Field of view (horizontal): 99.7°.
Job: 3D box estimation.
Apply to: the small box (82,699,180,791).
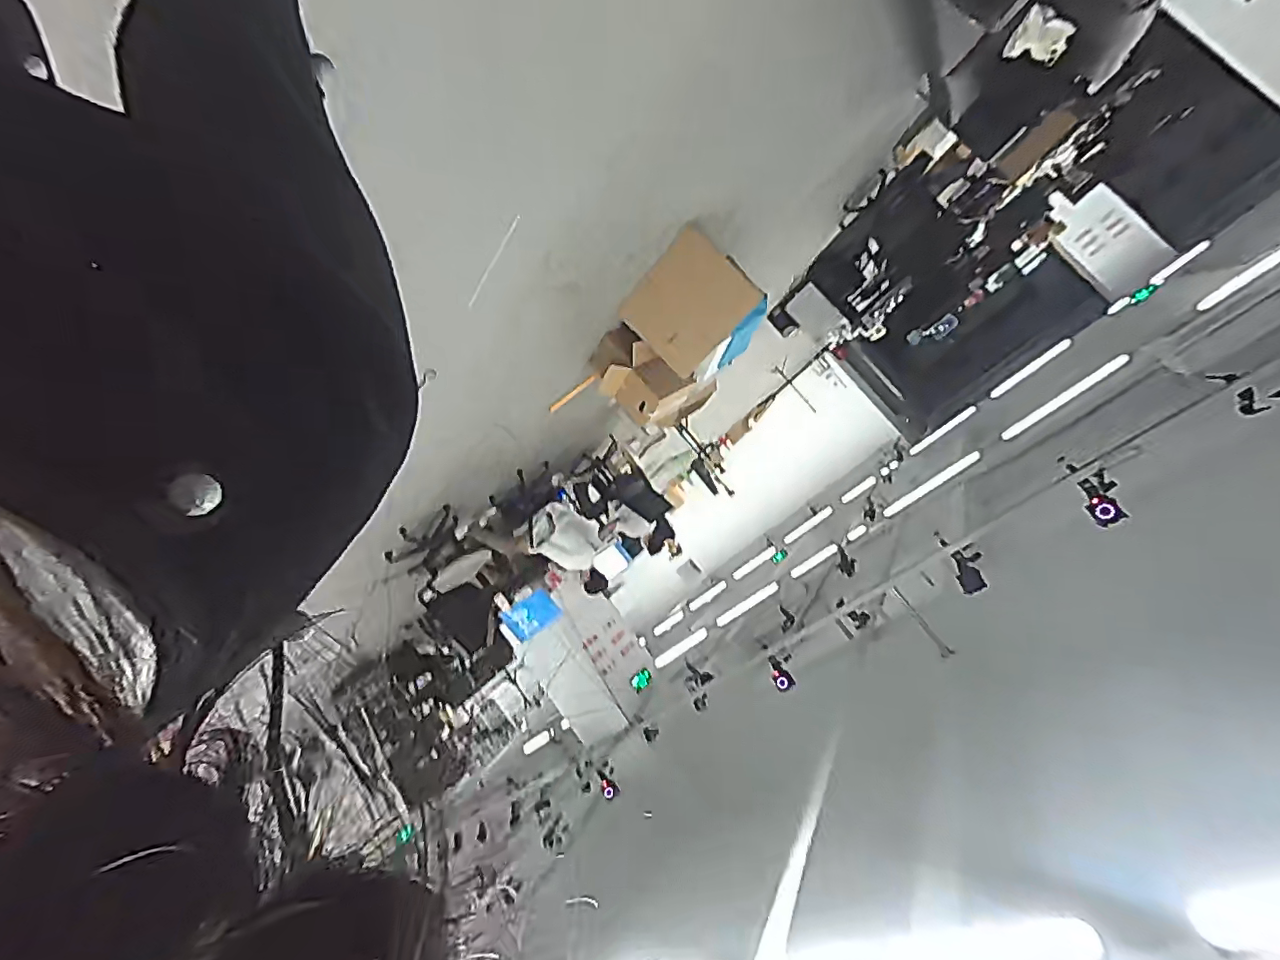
[{"bbox_3d":[-1.553,0.800,1.648,0.179,0.176,0.168,-44,171,33],"label":"small box"}]
